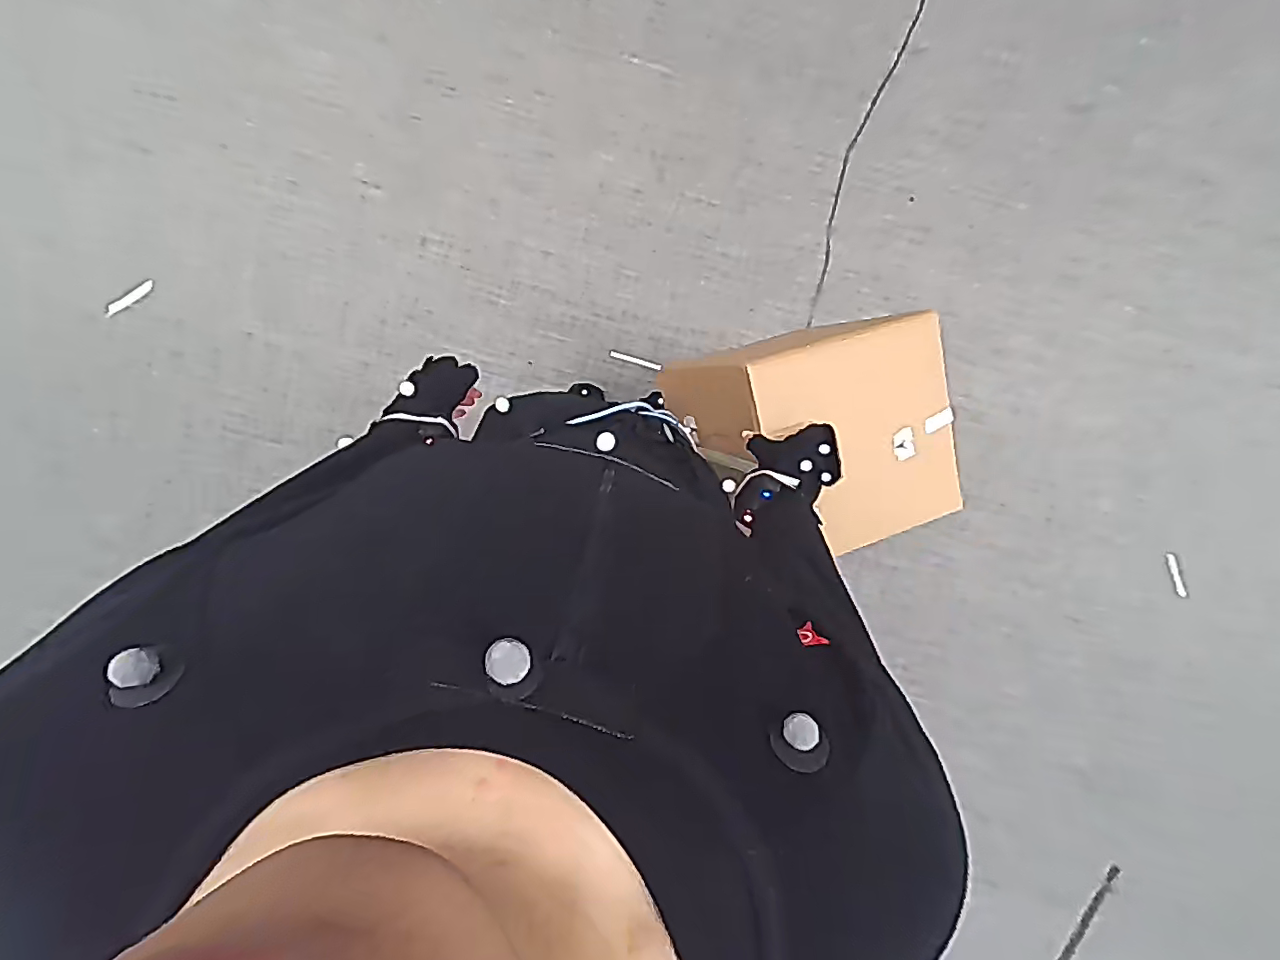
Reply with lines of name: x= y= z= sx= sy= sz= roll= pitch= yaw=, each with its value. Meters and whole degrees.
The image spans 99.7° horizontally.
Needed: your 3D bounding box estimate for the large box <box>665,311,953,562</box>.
large box: x=0.275 y=-0.093 z=0.985 sx=0.320 sy=0.408 sz=0.320 roll=-17 pitch=103 yaw=-10
